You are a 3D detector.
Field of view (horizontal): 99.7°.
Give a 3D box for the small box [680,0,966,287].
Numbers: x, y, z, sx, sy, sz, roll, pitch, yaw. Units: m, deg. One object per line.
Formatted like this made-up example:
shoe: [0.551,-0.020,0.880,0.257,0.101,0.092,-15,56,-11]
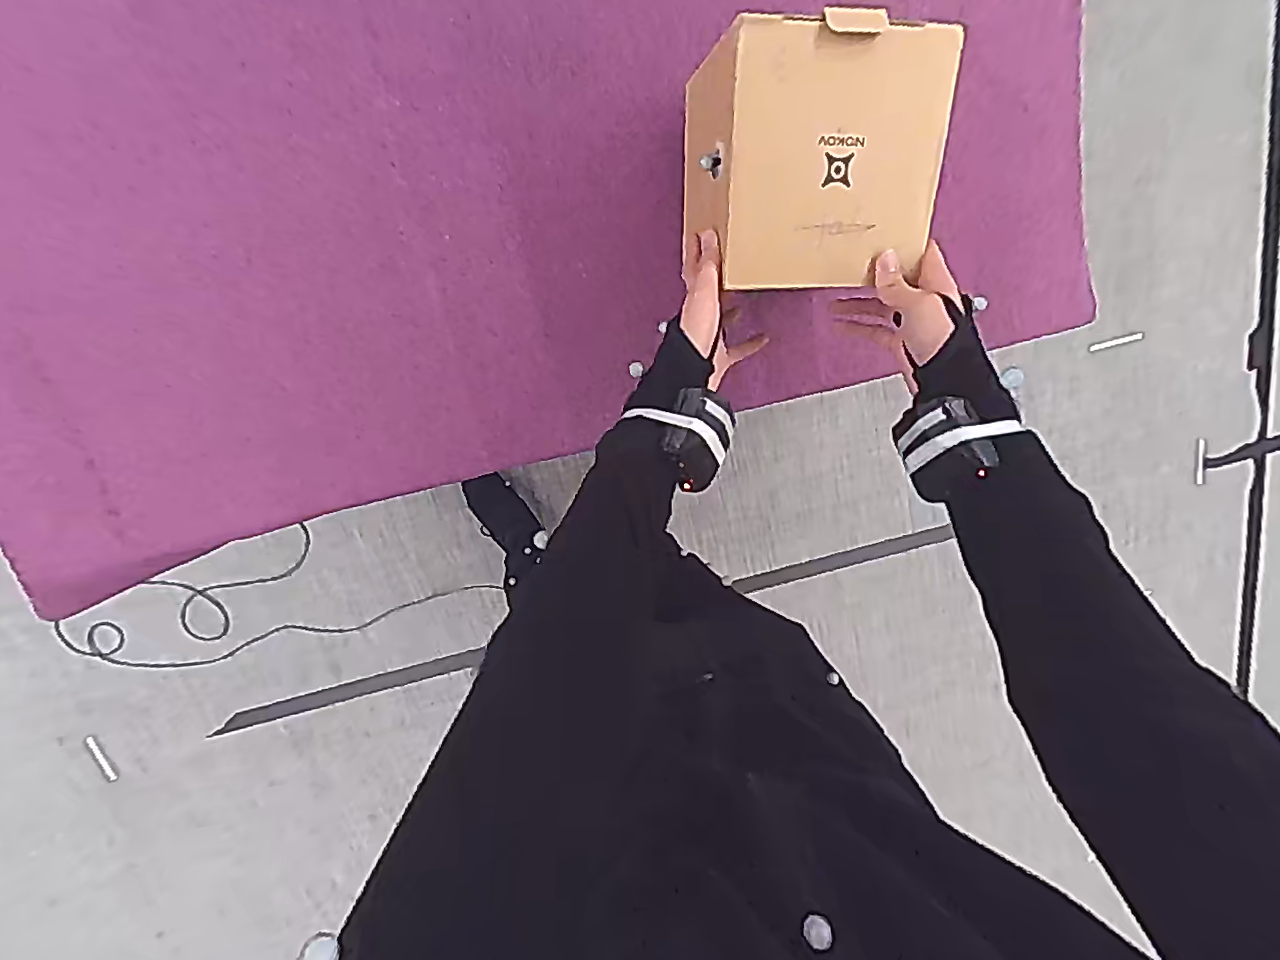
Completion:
small box: [0.133,-0.263,0.466,0.168,0.176,0.179,-2,111,-8]
